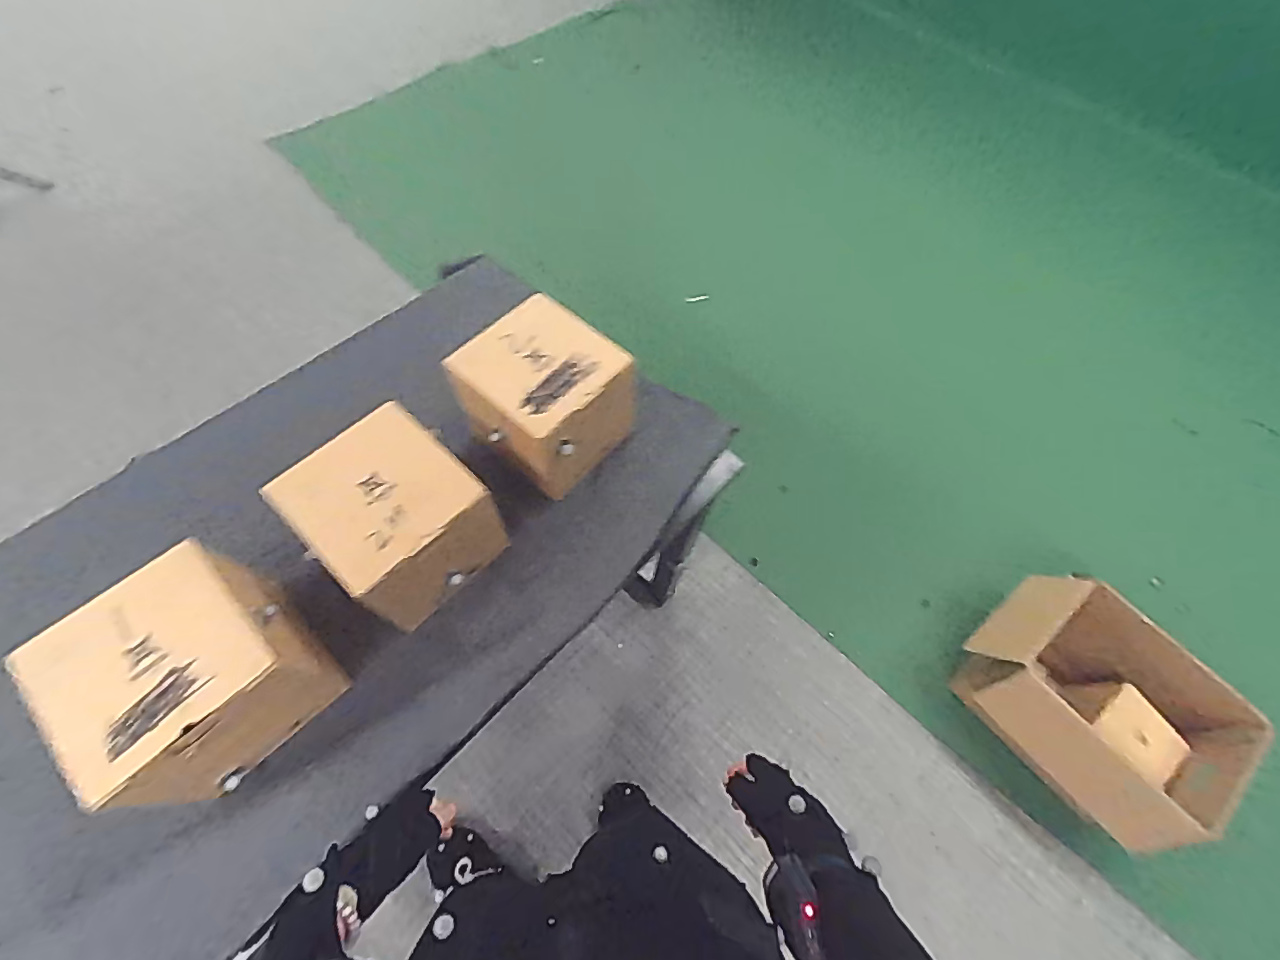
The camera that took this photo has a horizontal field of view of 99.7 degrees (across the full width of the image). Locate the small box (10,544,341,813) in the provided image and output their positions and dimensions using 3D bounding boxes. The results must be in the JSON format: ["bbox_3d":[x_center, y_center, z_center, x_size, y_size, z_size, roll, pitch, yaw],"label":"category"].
[{"bbox_3d":[-0.454,0.203,0.561,0.179,0.176,0.168,42,66,17],"label":"small box"}]

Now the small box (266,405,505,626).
[{"bbox_3d":[-0.290,0.050,0.654,0.179,0.176,0.168,40,68,16],"label":"small box"}]
